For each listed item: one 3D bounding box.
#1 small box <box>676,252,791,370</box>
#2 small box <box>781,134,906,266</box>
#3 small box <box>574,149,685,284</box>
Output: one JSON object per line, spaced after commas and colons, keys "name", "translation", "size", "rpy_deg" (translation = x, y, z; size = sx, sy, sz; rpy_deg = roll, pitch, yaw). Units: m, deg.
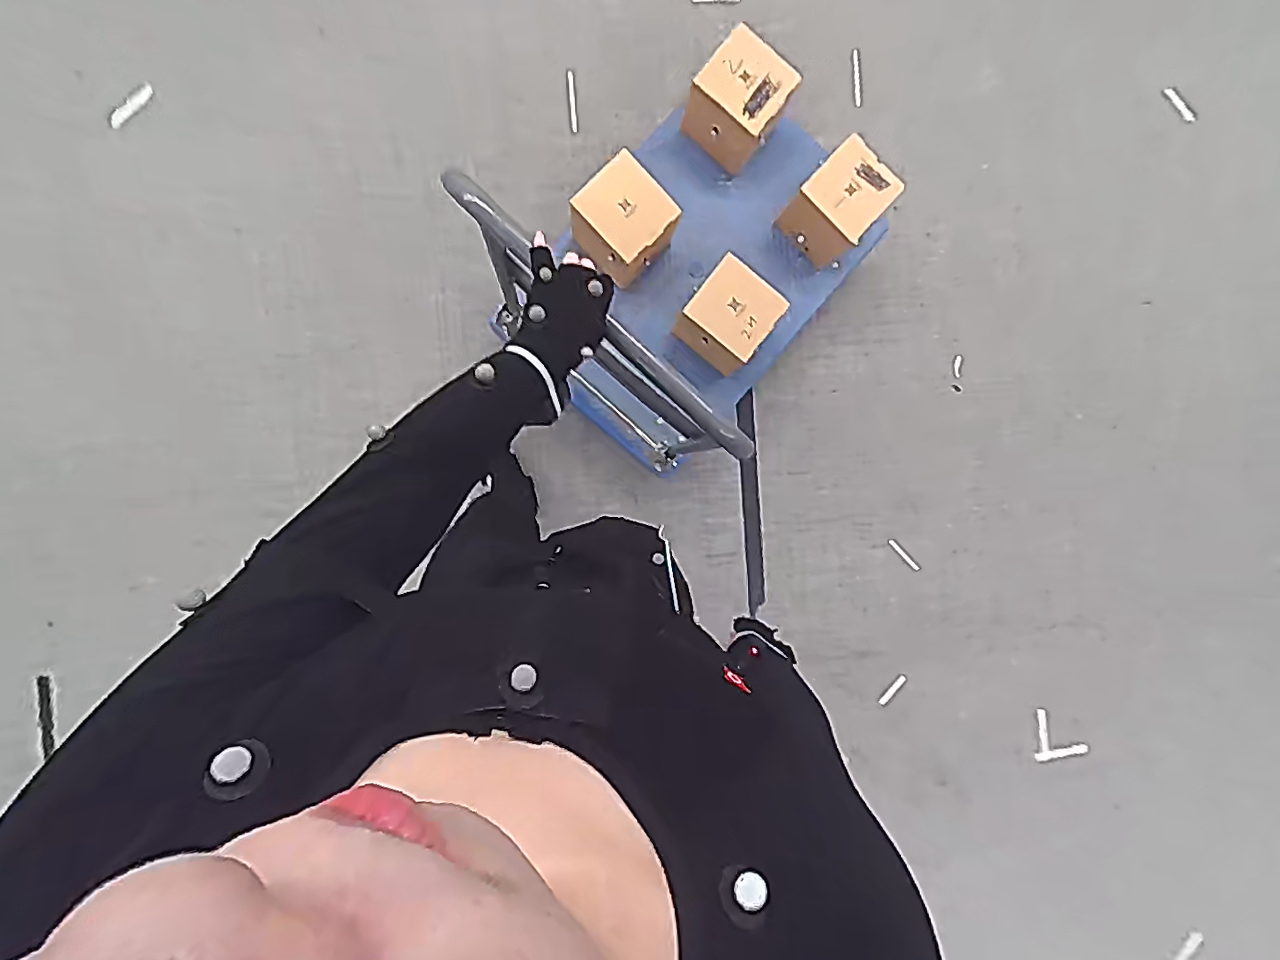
{"name": "small box", "translation": [0.202, -0.370, 1.227], "size": [0.179, 0.176, 0.168], "rpy_deg": [39, 88, -6]}
{"name": "small box", "translation": [0.457, -0.632, 1.244], "size": [0.168, 0.176, 0.179], "rpy_deg": [44, 89, -5]}
{"name": "small box", "translation": [-0.032, -0.570, 1.197], "size": [0.179, 0.176, 0.168], "rpy_deg": [45, 87, -7]}
